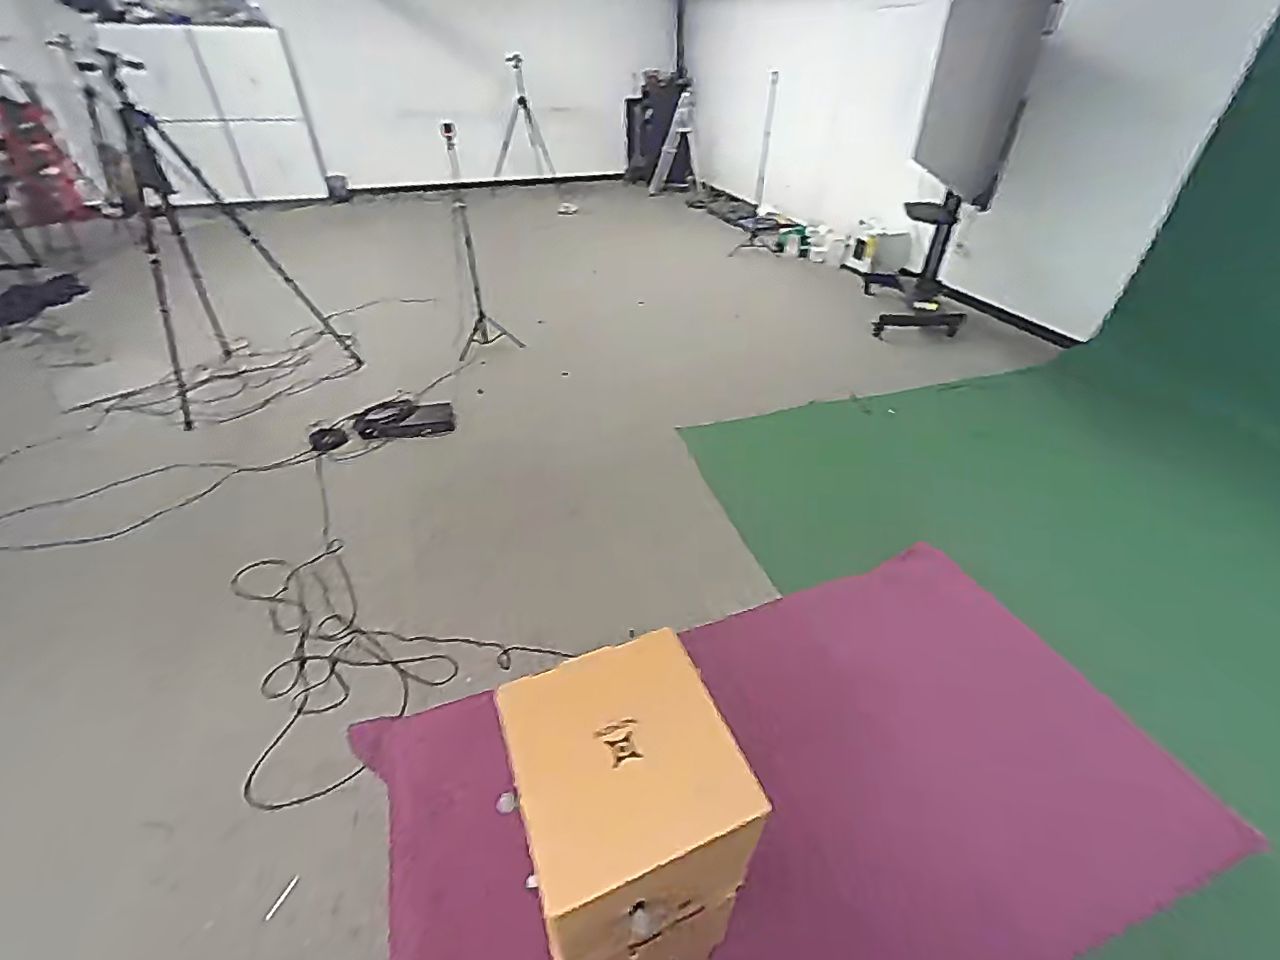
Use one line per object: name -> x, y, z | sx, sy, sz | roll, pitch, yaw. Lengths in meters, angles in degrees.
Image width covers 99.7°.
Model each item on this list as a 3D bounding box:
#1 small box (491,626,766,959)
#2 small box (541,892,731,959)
small box -> -0.016, 0.265, 0.460 | 0.168, 0.176, 0.179 | -15, 40, -18
small box -> -0.021, 0.393, 0.560 | 0.168, 0.176, 0.179 | -13, 39, -16
